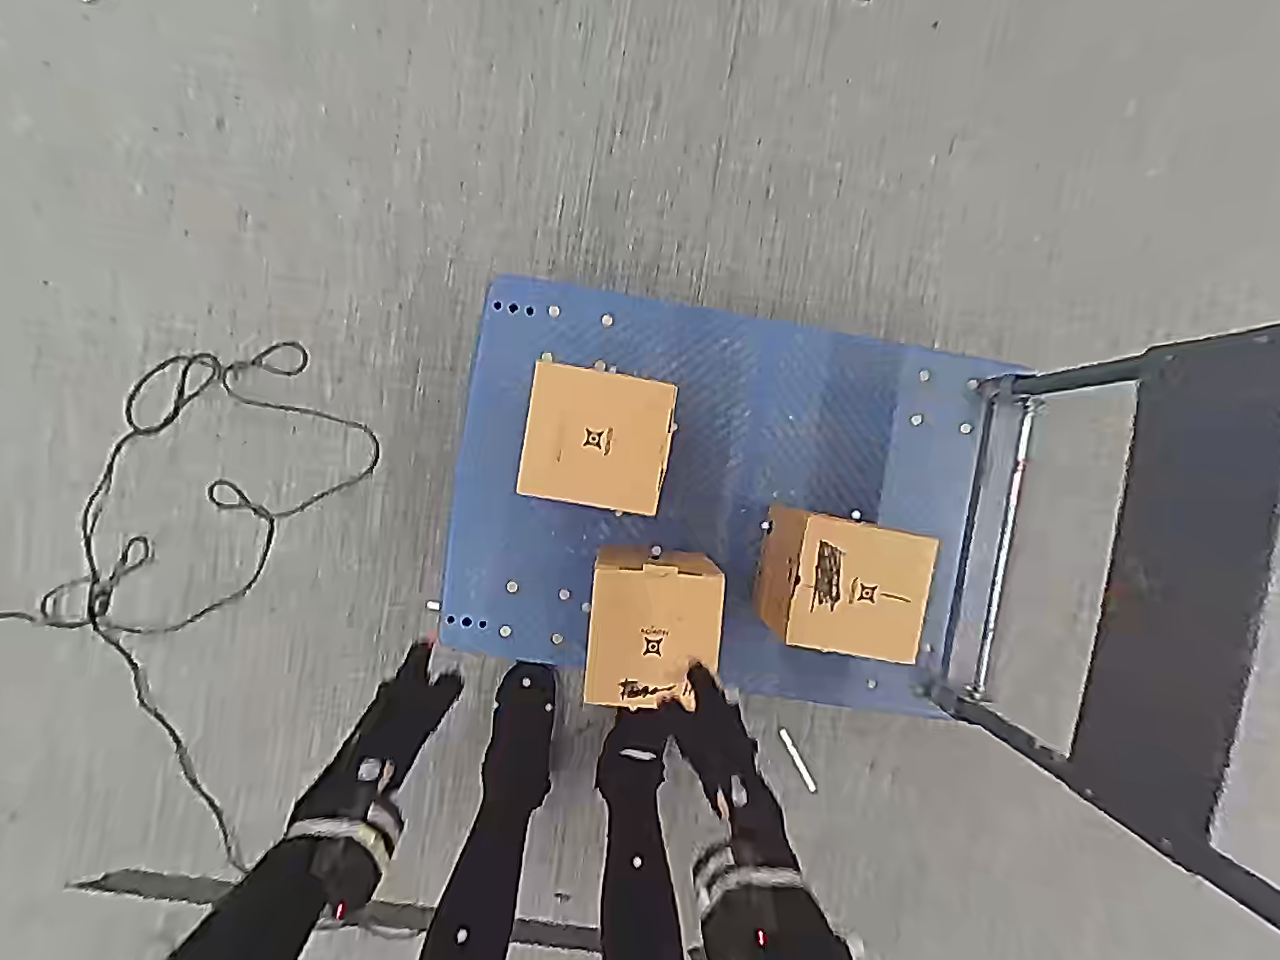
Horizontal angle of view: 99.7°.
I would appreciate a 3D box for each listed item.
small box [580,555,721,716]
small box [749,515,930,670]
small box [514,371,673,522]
[{"bbox_3d":[0.009,0.204,0.756,0.168,0.176,0.179,5,90,-3],"label":"small box"},{"bbox_3d":[0.267,0.146,0.766,0.179,0.176,0.168,11,91,-4],"label":"small box"},{"bbox_3d":[-0.060,-0.043,0.747,0.179,0.176,0.168,9,90,-3],"label":"small box"}]
